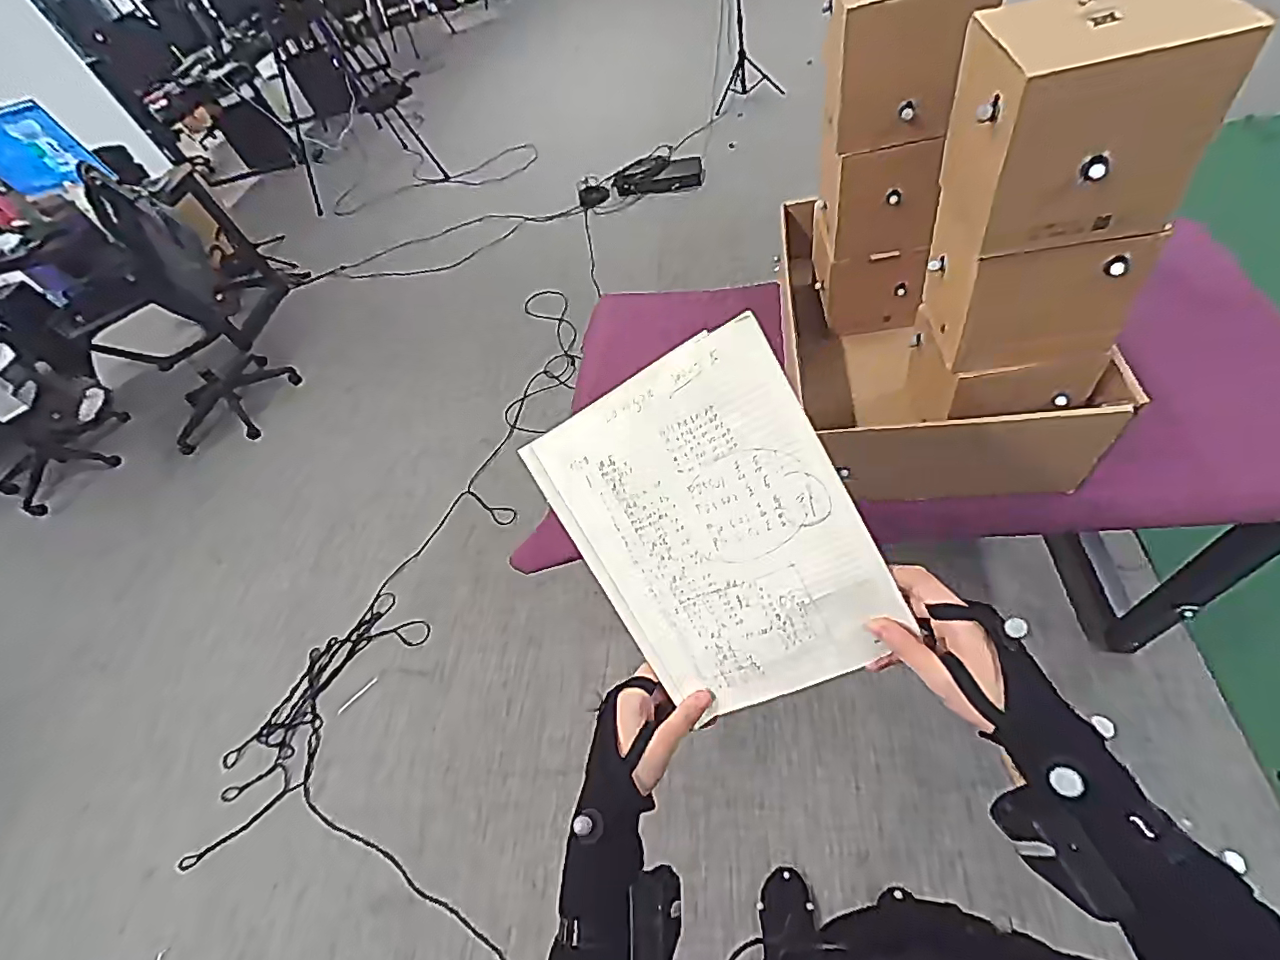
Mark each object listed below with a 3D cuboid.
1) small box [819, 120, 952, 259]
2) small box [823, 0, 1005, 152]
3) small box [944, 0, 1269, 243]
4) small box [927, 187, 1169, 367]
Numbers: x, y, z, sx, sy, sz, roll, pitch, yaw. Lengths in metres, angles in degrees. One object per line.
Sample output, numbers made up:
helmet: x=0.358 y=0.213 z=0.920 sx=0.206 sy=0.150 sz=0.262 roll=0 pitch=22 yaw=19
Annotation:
small box: x=0.388 y=-0.480 z=0.854 sx=0.179 sy=0.176 sz=0.168 roll=-6 pitch=54 yaw=12
small box: x=0.351 y=-0.576 z=0.726 sx=0.179 sy=0.176 sz=0.168 roll=-3 pitch=54 yaw=12
small box: x=0.423 y=-0.354 z=0.536 sx=0.168 sy=0.176 sz=0.179 roll=-3 pitch=52 yaw=13
small box: x=0.467 y=-0.256 z=0.661 sx=0.179 sy=0.176 sz=0.168 roll=-3 pitch=52 yaw=14
